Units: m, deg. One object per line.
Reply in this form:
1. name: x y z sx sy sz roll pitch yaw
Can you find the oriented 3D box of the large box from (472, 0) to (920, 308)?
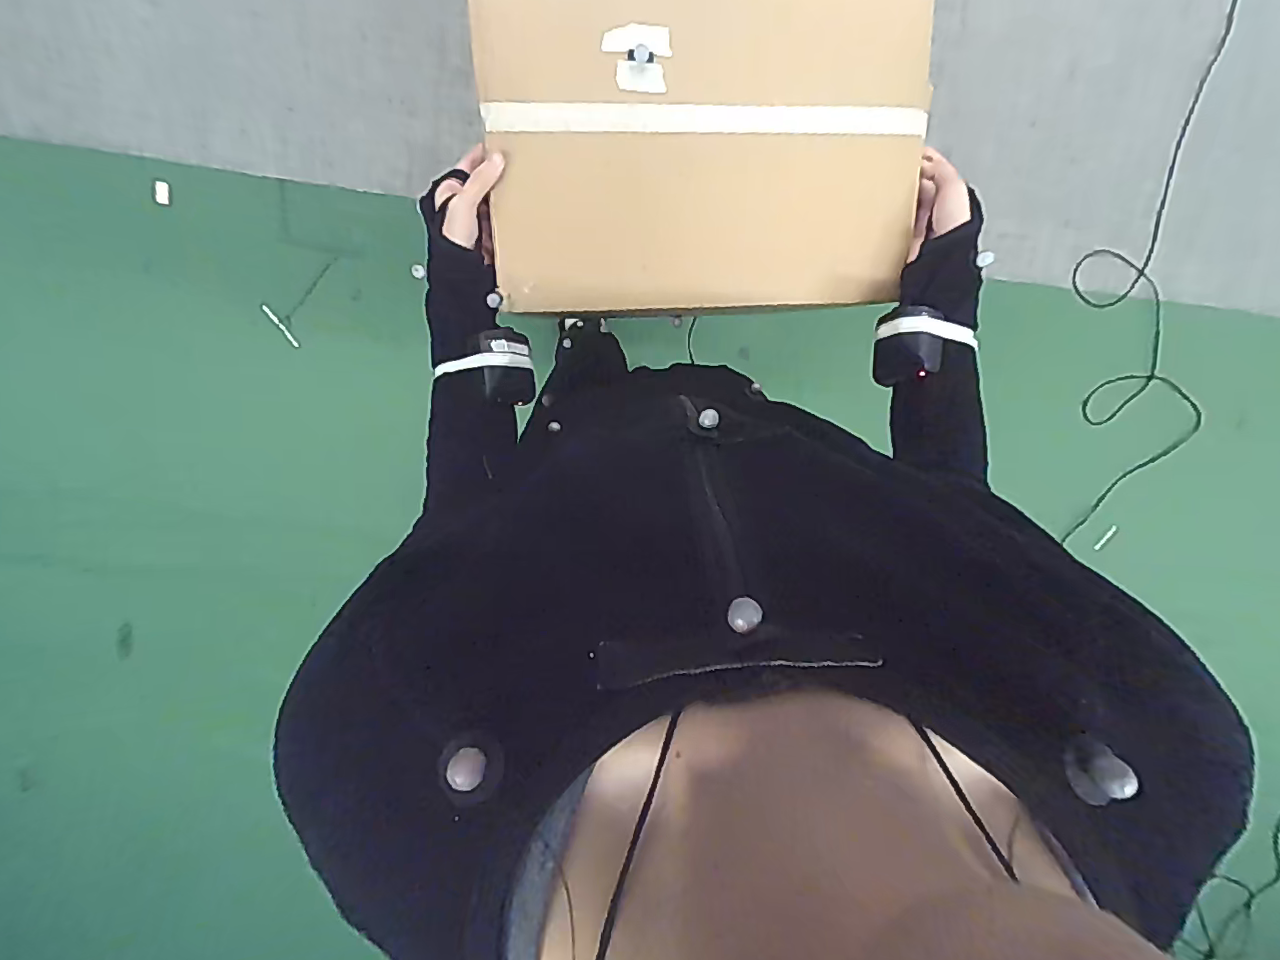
1. large box: 0.042 -0.370 0.638 0.408 0.320 0.320 -3 106 -7
